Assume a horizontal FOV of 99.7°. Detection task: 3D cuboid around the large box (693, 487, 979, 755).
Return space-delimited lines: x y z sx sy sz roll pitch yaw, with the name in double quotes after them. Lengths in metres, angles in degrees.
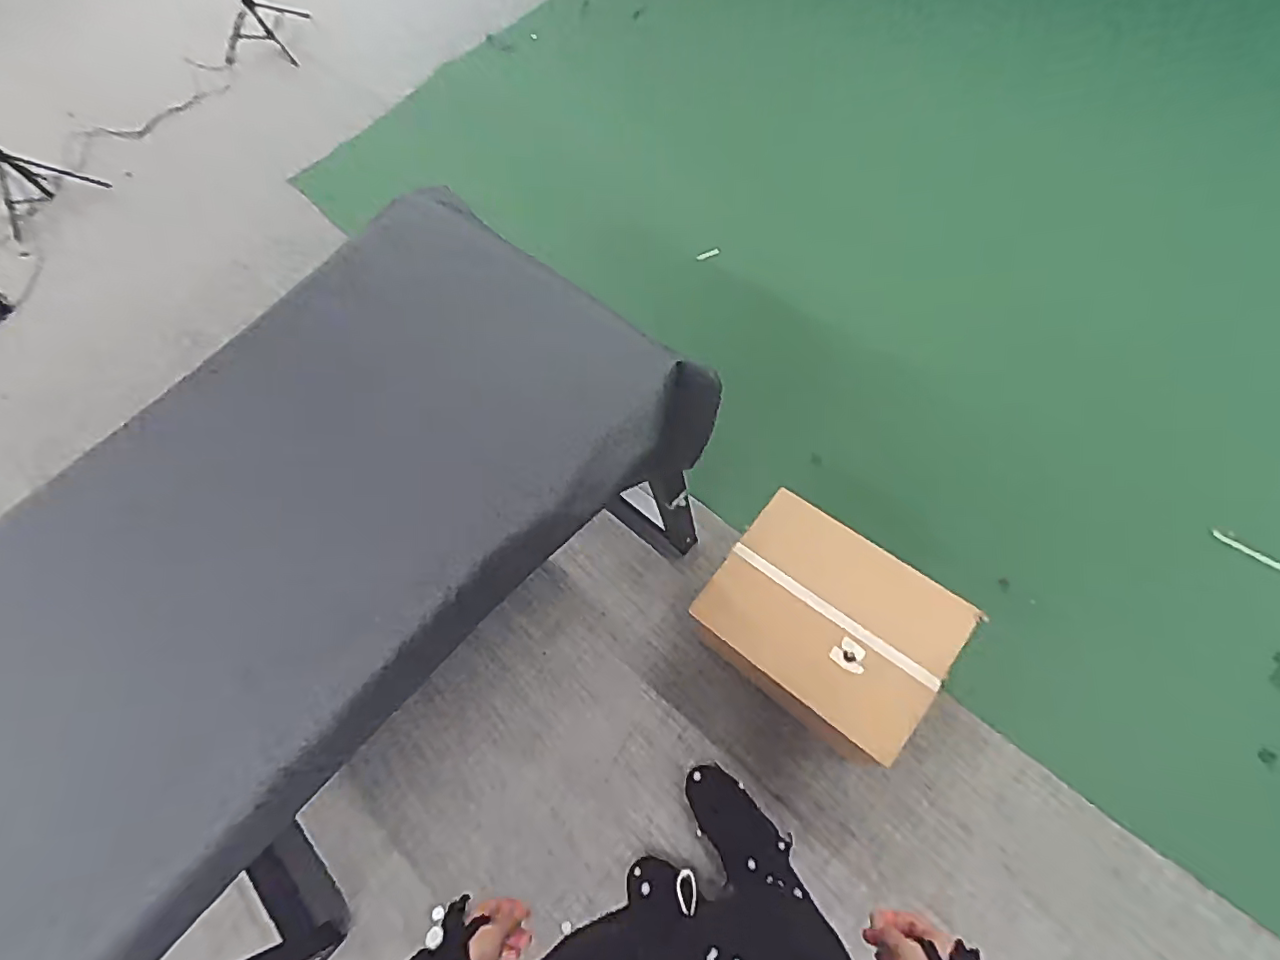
0.359 0.286 1.097 0.408 0.320 0.320 35 76 22 "large box"
